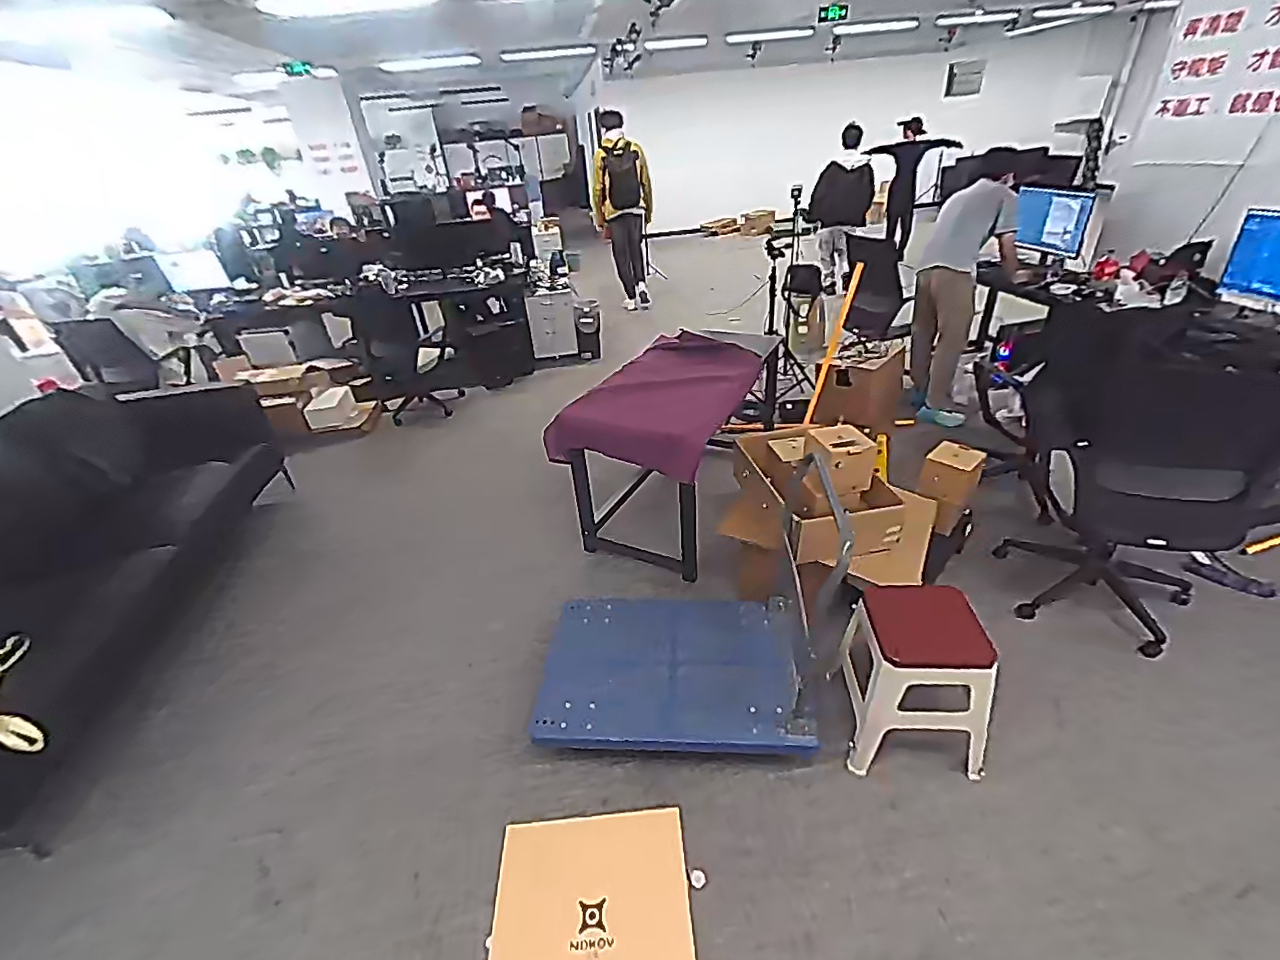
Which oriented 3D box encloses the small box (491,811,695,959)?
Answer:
[{"bbox_3d":[-0.033,0.438,0.491,0.168,0.176,0.179,-5,34,1],"label":"small box"}]
